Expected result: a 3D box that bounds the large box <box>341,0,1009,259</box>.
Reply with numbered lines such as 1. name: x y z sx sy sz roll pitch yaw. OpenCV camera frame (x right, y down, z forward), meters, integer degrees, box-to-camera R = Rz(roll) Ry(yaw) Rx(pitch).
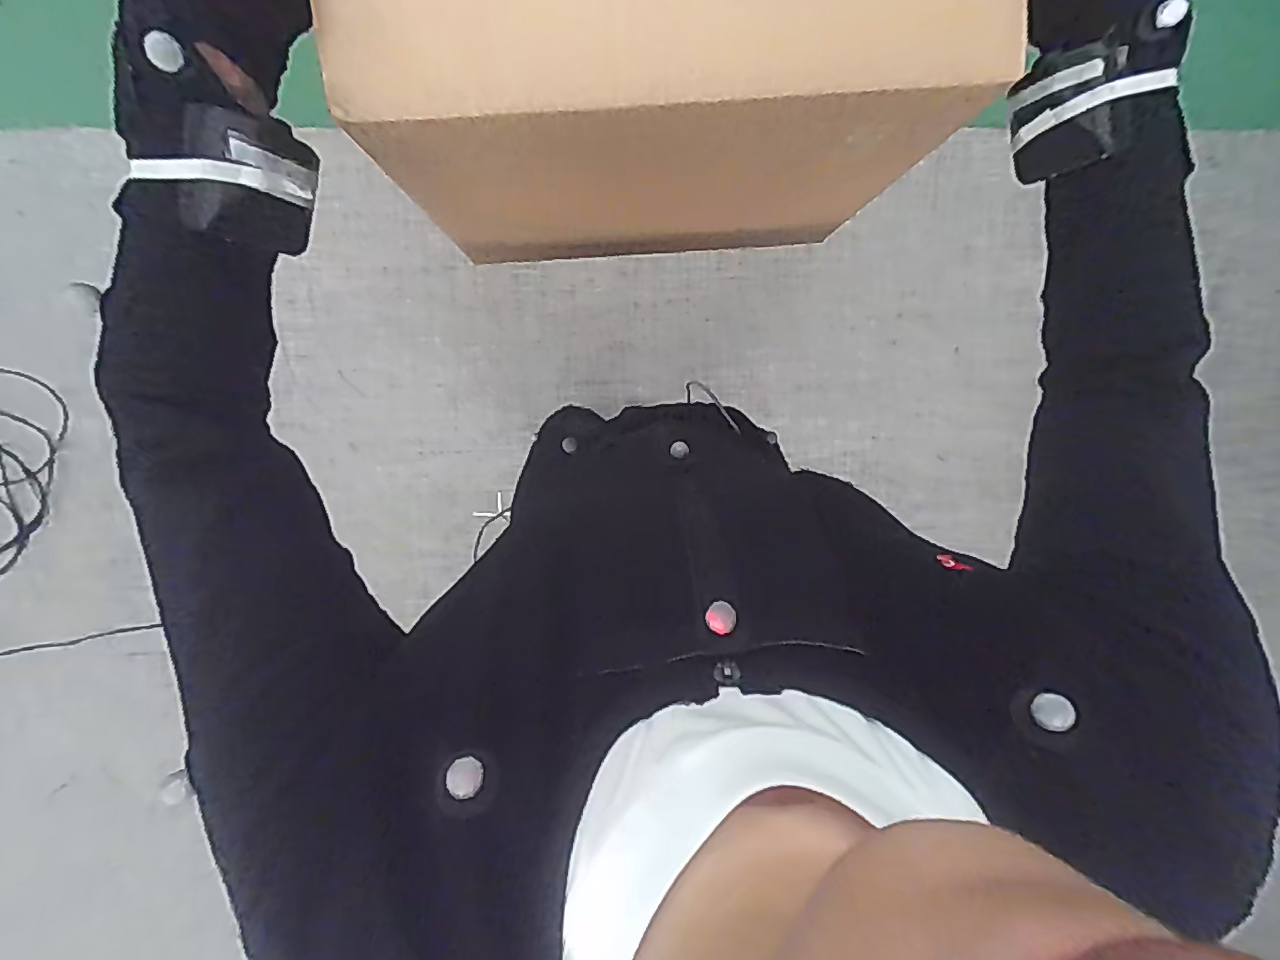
1. large box: 0.008 -0.401 0.454 0.408 0.320 0.320 -5 98 -2
